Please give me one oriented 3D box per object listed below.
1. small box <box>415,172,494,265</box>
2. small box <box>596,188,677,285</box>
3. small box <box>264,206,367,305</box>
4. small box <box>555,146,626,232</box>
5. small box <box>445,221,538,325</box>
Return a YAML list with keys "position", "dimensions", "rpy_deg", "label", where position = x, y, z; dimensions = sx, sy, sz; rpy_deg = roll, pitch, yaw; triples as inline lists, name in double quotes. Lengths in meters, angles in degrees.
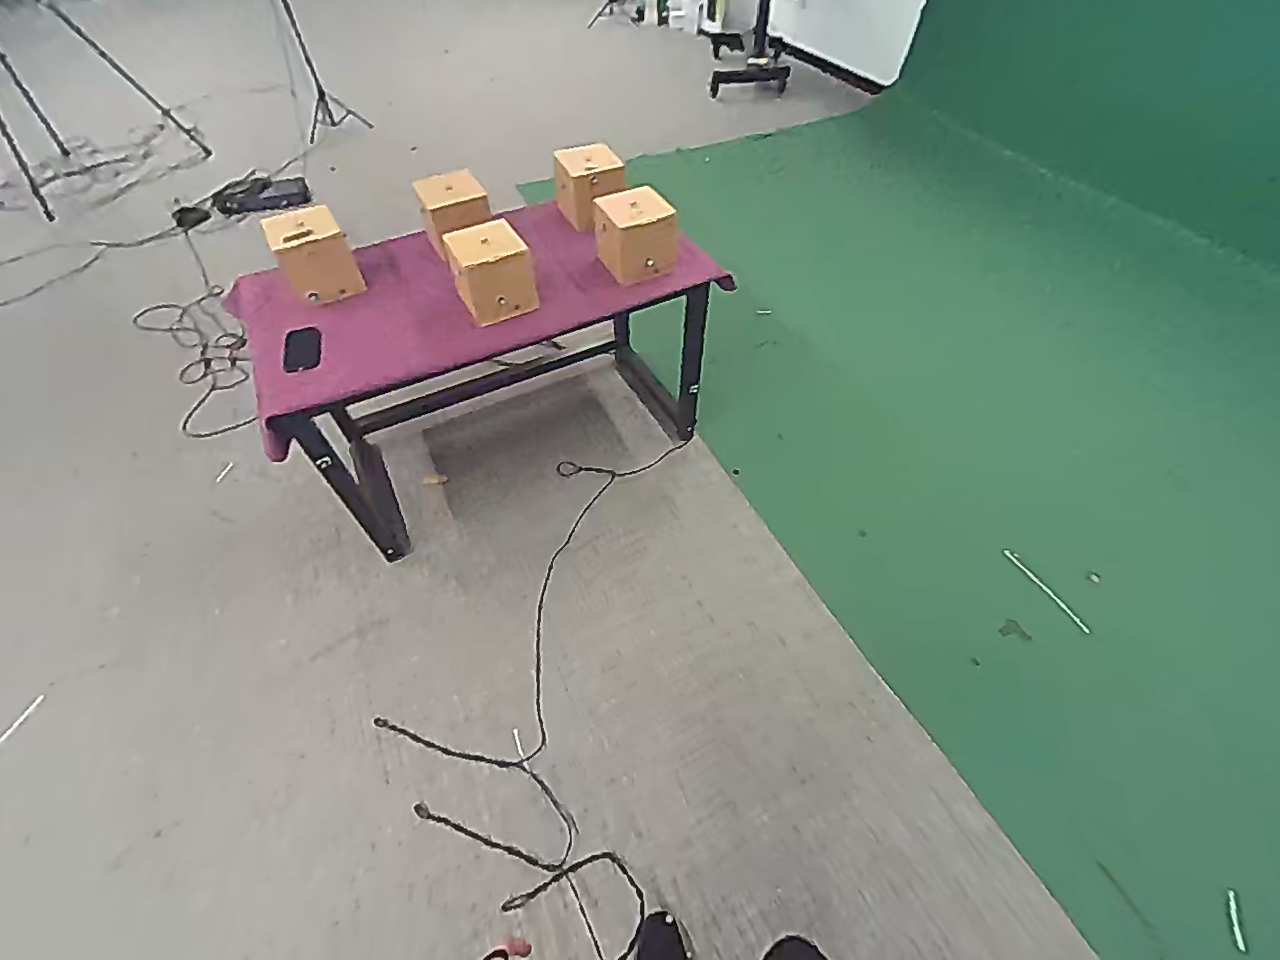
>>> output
- position: [-0.523, -0.751, 1.554]
  dimensions: [0.168, 0.176, 0.179]
  rpy_deg: [-24, 57, -16]
  label: "small box"
- position: [-0.011, -0.664, 1.478]
  dimensions: [0.168, 0.176, 0.179]
  rpy_deg: [-22, 56, -14]
  label: "small box"
- position: [-0.852, -0.586, 1.429]
  dimensions: [0.168, 0.176, 0.179]
  rpy_deg: [-26, 56, -19]
  label: "small box"
- position: [-0.149, -0.889, 1.655]
  dimensions: [0.168, 0.176, 0.179]
  rpy_deg: [-21, 55, -14]
  label: "small box"
- position: [-0.376, -0.527, 1.382]
  dimensions: [0.168, 0.176, 0.179]
  rpy_deg: [-24, 56, -17]
  label: "small box"
